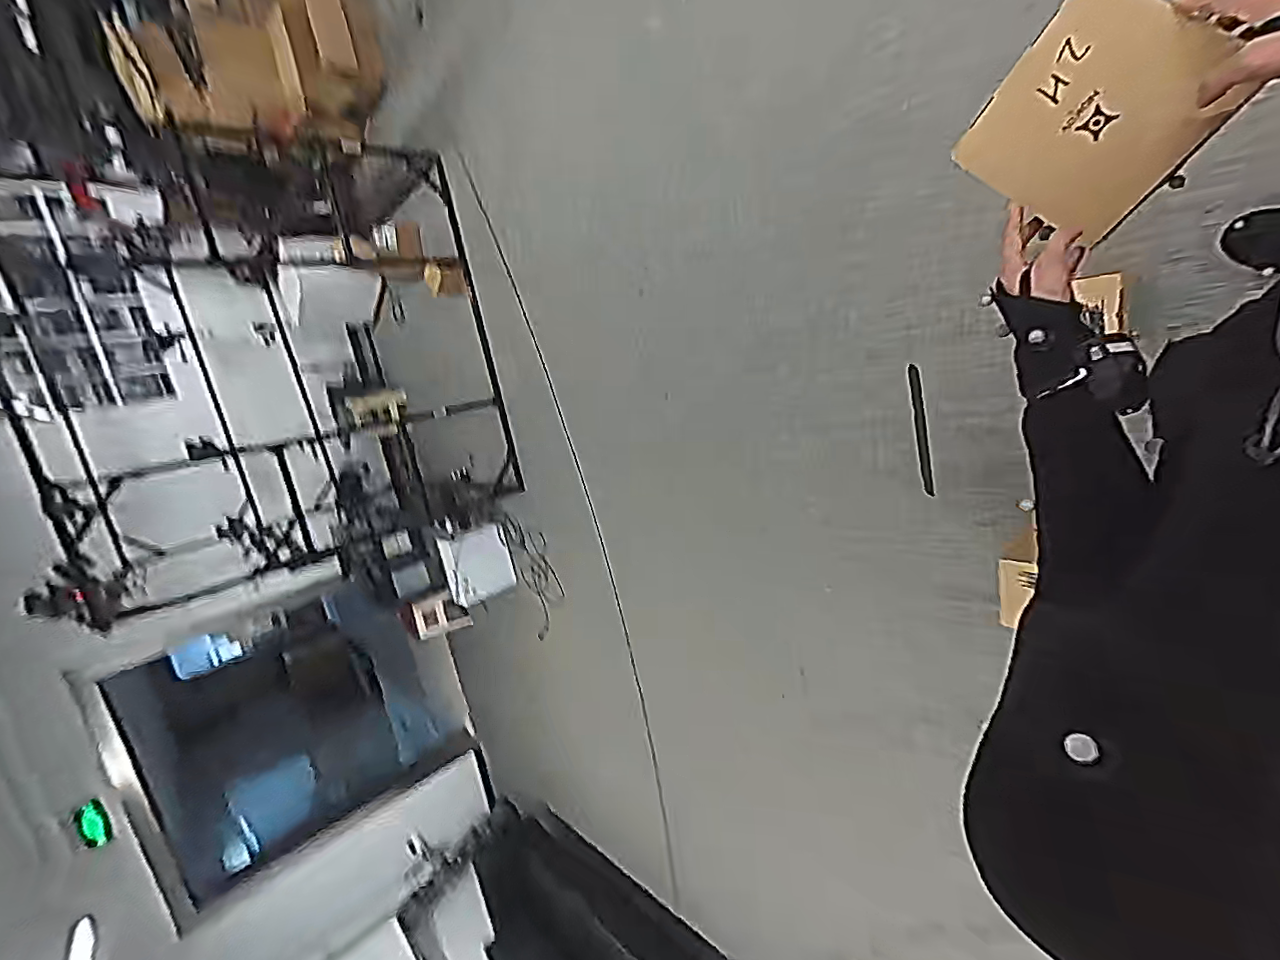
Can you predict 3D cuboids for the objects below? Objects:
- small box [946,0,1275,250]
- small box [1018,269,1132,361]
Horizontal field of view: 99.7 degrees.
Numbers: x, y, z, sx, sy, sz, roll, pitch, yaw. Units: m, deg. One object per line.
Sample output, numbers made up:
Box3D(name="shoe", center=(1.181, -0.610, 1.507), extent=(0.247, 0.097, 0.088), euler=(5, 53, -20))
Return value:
Box3D(name="small box", center=(0.465, -0.366, 0.552), extent=(0.179, 0.176, 0.168), euler=(48, 136, 15))
Box3D(name="small box", center=(0.966, -0.366, 1.200), extent=(0.179, 0.176, 0.168), euler=(5, 110, 49))
